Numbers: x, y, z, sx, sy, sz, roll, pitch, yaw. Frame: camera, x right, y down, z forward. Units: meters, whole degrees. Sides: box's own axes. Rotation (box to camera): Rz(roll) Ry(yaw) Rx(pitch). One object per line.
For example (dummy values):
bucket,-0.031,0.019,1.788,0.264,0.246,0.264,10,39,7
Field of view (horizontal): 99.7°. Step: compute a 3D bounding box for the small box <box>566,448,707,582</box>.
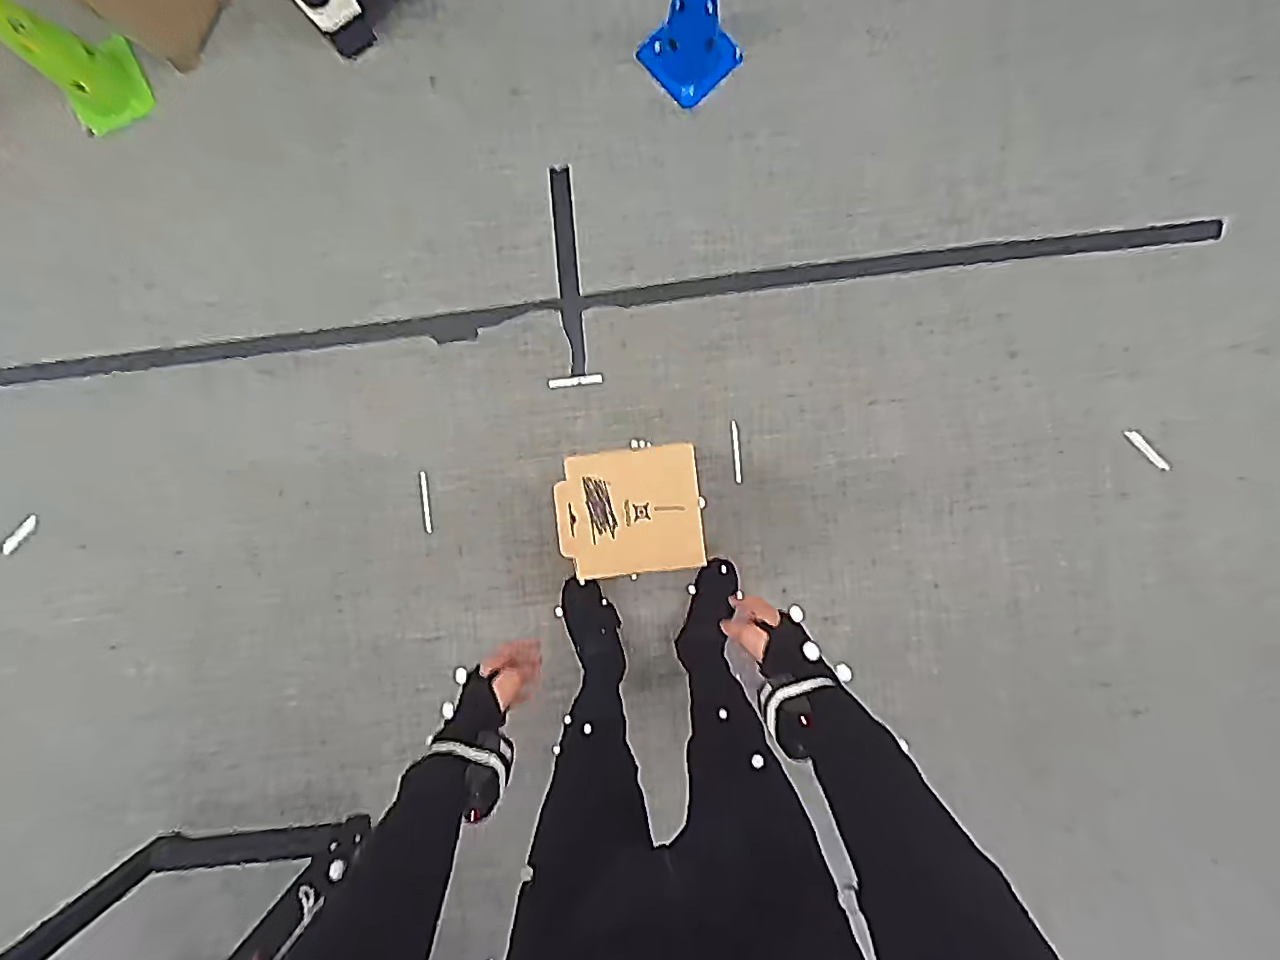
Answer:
small box,-0.003,0.047,0.794,0.179,0.176,0.168,-6,91,0
